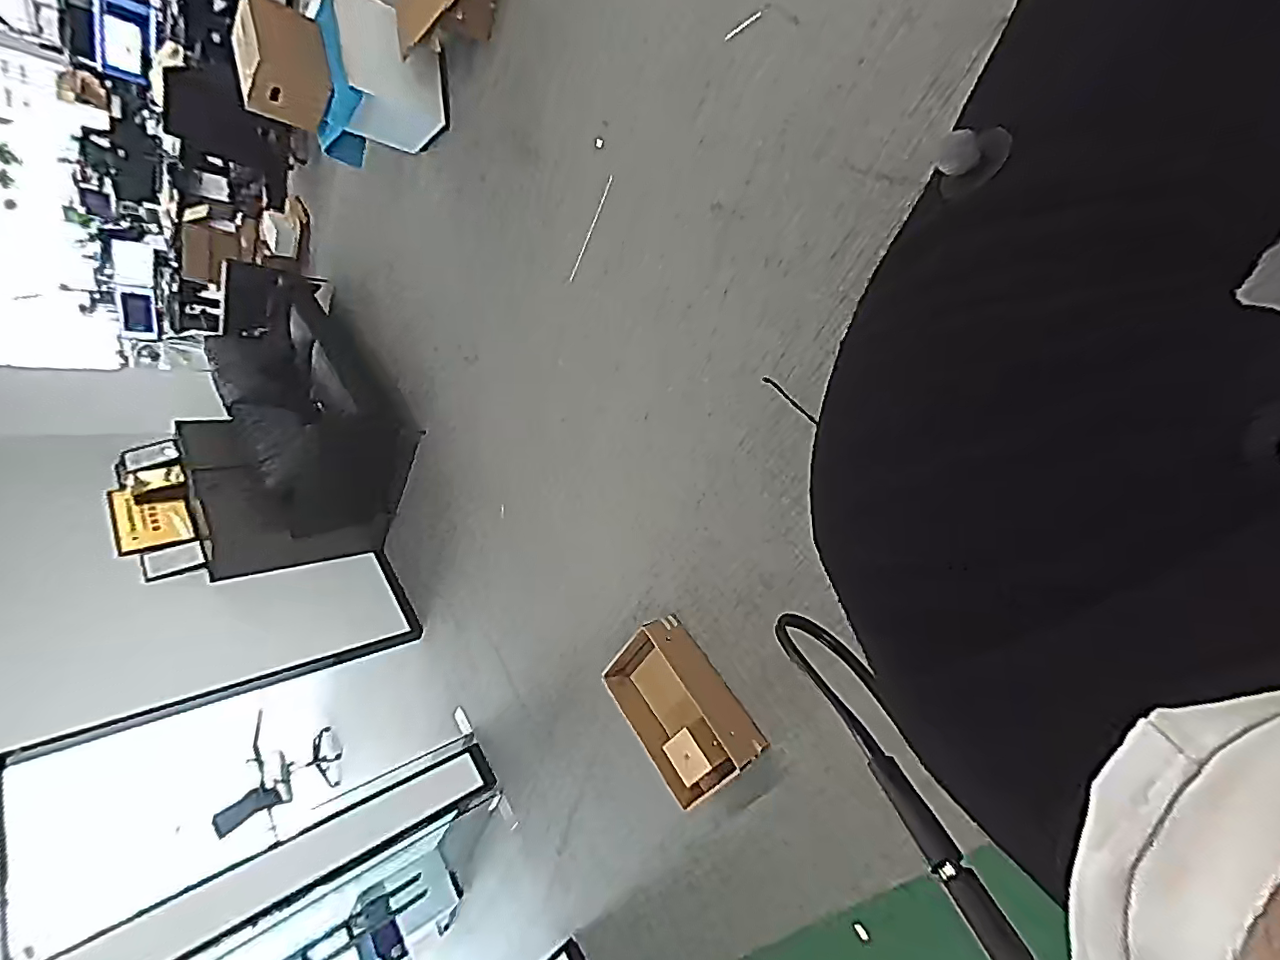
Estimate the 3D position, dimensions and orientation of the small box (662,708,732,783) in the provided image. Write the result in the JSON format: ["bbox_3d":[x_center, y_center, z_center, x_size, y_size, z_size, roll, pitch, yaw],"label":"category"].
[{"bbox_3d":[0.225,1.001,2.048,0.168,0.176,0.179,52,127,26],"label":"small box"}]
